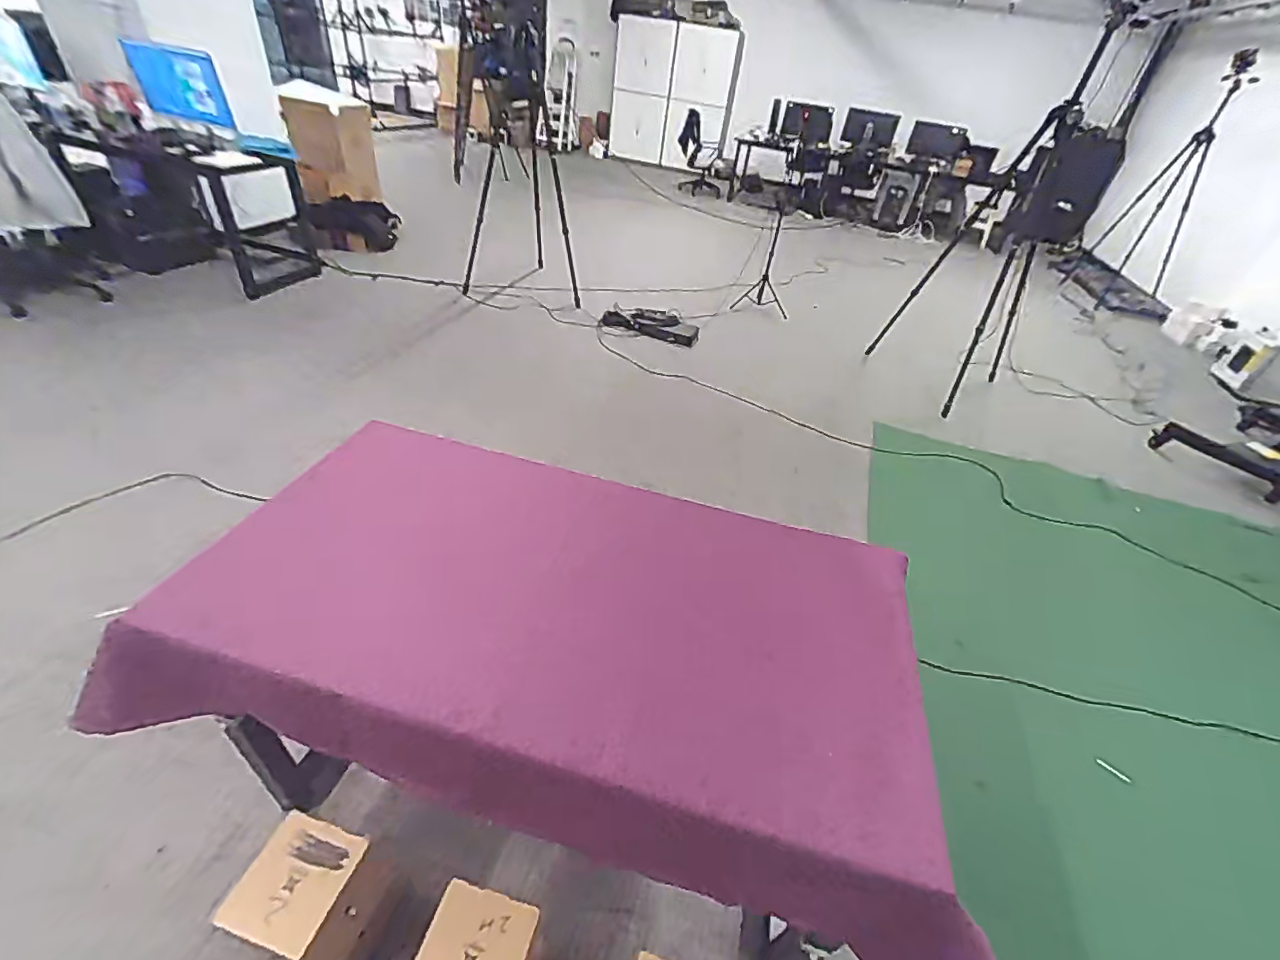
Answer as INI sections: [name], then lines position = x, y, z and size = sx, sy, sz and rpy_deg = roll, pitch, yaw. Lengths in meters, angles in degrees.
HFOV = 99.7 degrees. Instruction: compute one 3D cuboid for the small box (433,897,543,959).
[small box]
position = -0.297, 0.946, 1.031
size = 0.179, 0.176, 0.168
rpy_deg = 15, 39, 9
